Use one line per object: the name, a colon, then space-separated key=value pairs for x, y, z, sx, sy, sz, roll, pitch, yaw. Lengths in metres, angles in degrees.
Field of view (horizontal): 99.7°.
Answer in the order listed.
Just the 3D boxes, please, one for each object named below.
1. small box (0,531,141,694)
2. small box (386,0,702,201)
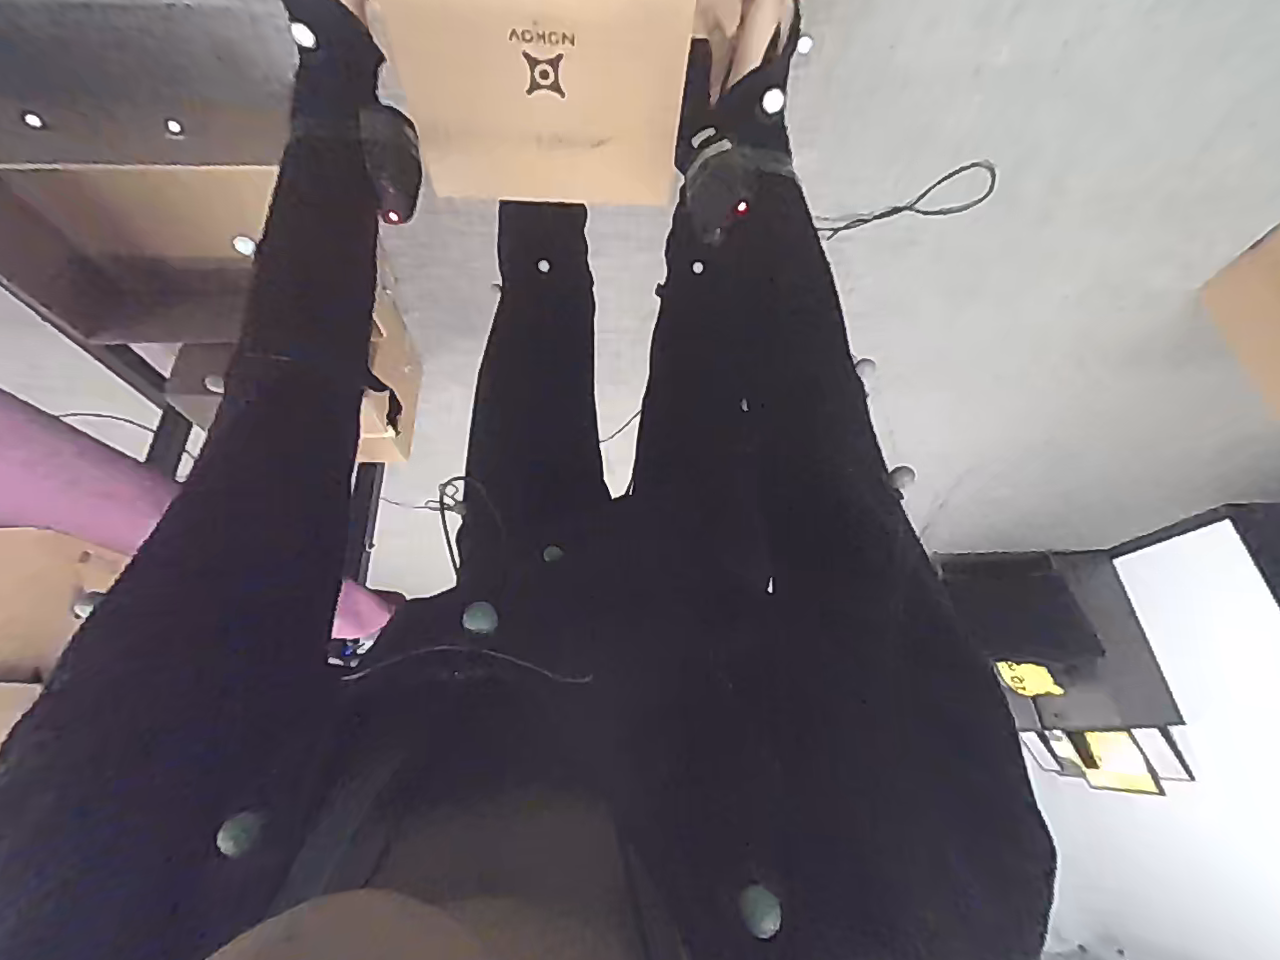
small box: x=-0.750 y=0.163 z=0.638 sx=0.179 sy=0.176 sz=0.168 roll=-2 pitch=154 yaw=-1
small box: x=-0.055 y=-0.309 z=0.336 sx=0.168 sy=0.176 sz=0.179 roll=0 pitch=156 yaw=-5
